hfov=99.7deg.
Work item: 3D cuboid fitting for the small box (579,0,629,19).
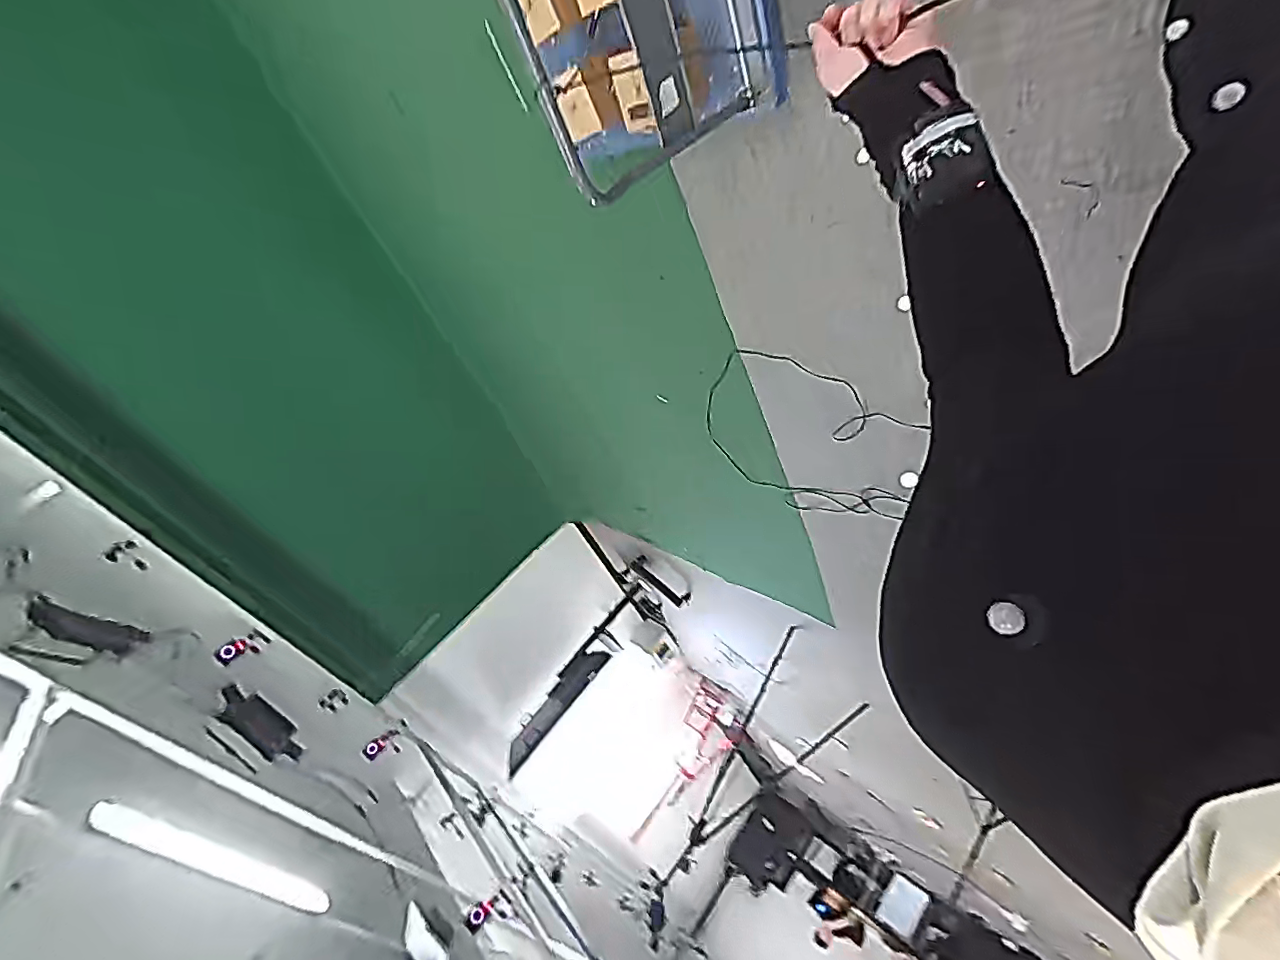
[{"bbox_3d":[-0.057,-1.260,1.302,0.179,0.176,0.168,20,147,43],"label":"small box"}]

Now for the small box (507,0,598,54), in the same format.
[{"bbox_3d":[-0.241,-1.325,1.488,0.179,0.176,0.168,16,145,46],"label":"small box"}]

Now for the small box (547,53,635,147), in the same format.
[{"bbox_3d":[-0.138,-1.142,1.627,0.179,0.176,0.168,17,144,47],"label":"small box"}]
